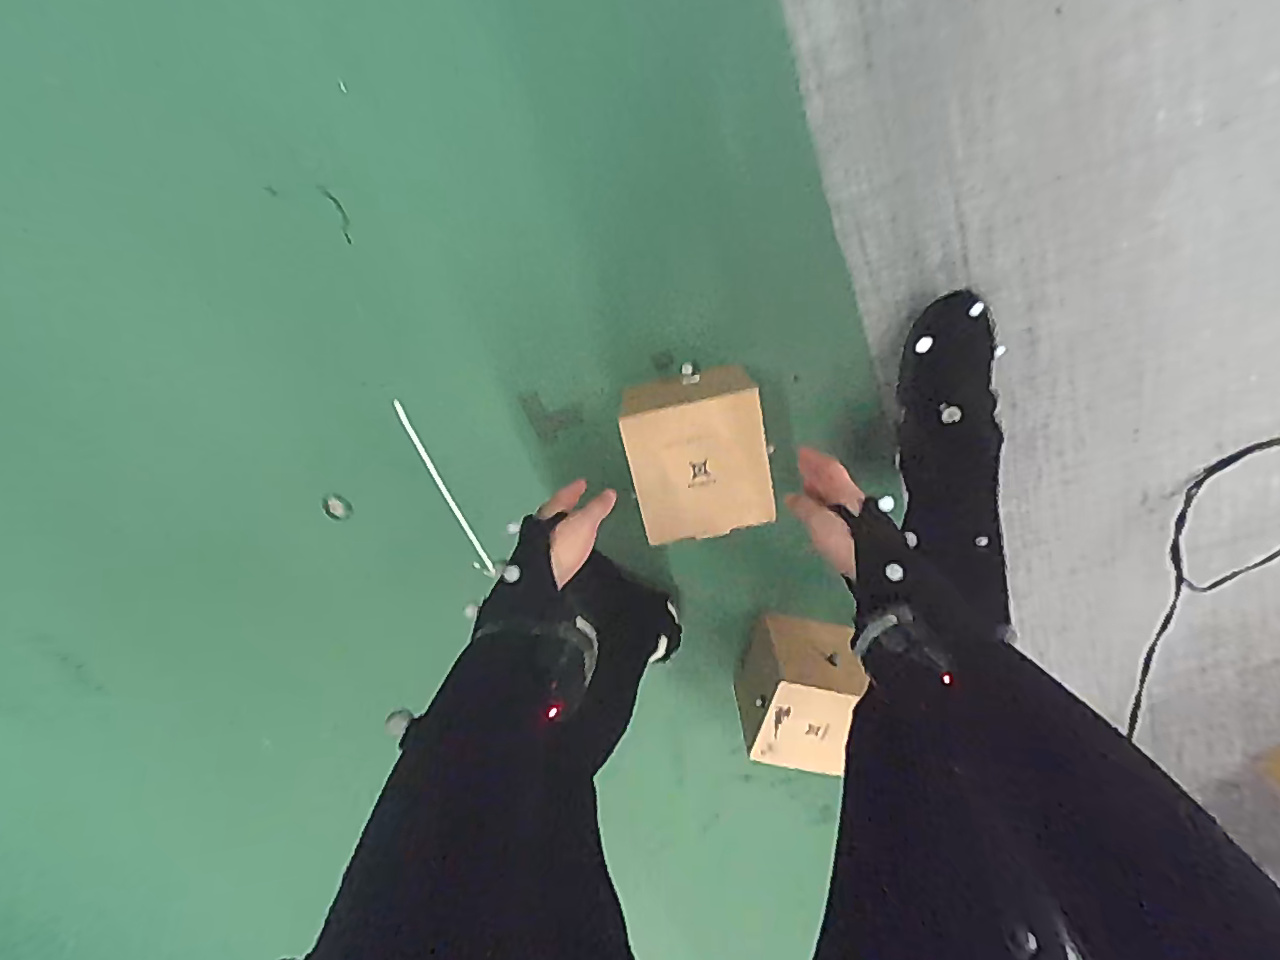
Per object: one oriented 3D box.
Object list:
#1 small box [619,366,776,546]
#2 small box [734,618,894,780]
[{"bbox_3d":[0.074,-0.039,0.722,0.168,0.176,0.179,-12,110,5],"label":"small box"},{"bbox_3d":[0.268,0.348,0.879,0.179,0.176,0.168,12,113,-5],"label":"small box"}]
